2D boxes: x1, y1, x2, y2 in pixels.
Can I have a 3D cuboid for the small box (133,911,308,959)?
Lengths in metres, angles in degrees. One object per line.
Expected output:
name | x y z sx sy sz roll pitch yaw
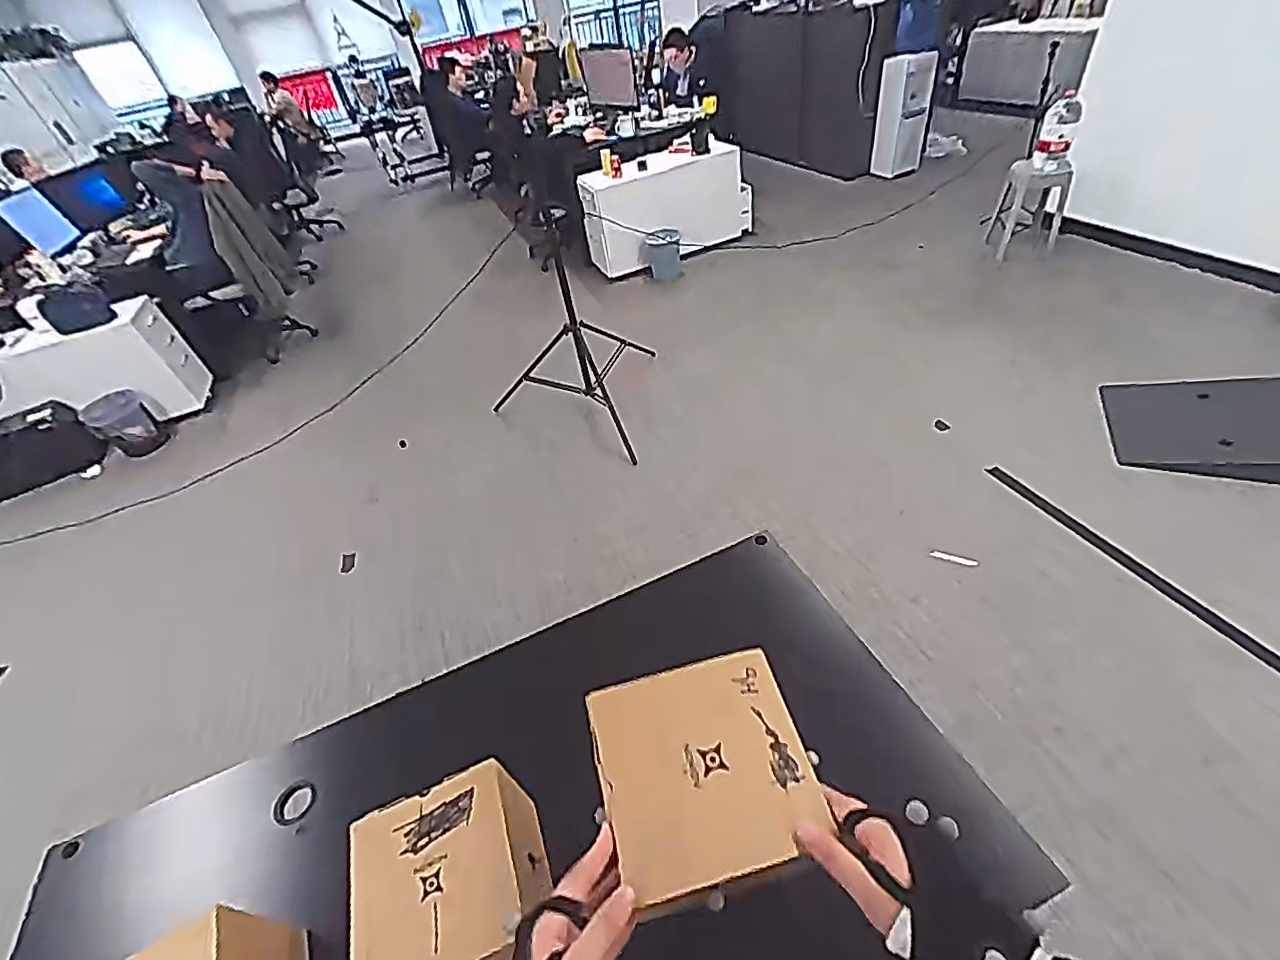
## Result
small box | -0.457 0.584 0.540 0.179 0.176 0.168 -28 44 -16

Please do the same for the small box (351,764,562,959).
small box | -0.202 0.467 0.611 0.168 0.176 0.179 -22 44 -10

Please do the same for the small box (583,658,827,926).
small box | 0.055 0.305 0.526 0.179 0.176 0.168 -13 47 -6
